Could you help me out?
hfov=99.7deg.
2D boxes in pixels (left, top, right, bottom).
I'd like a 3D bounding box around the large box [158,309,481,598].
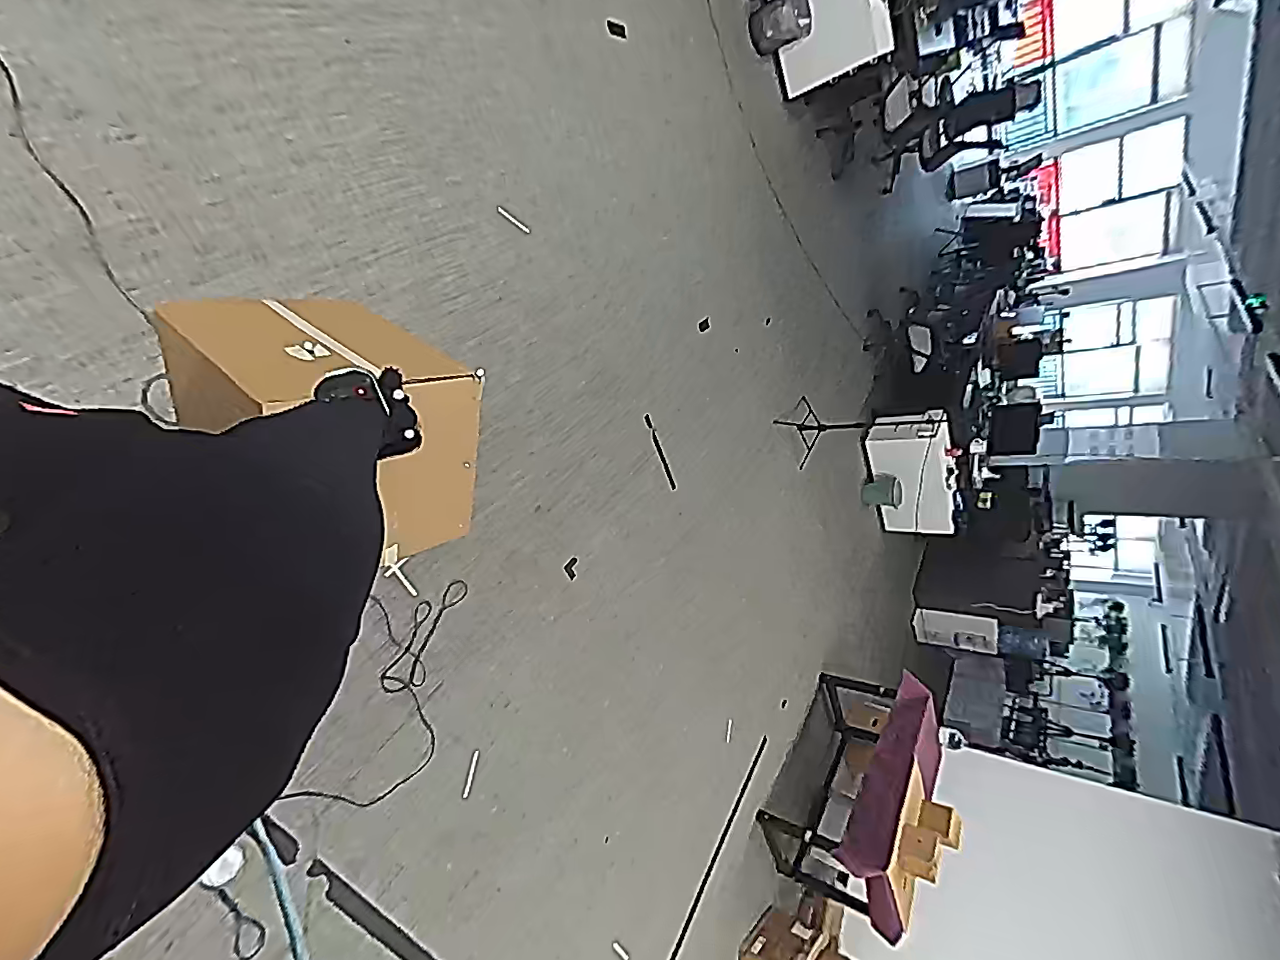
[{"bbox_3d":[-0.534,-0.075,0.924,0.320,0.408,0.320,-24,136,-48],"label":"large box"}]
